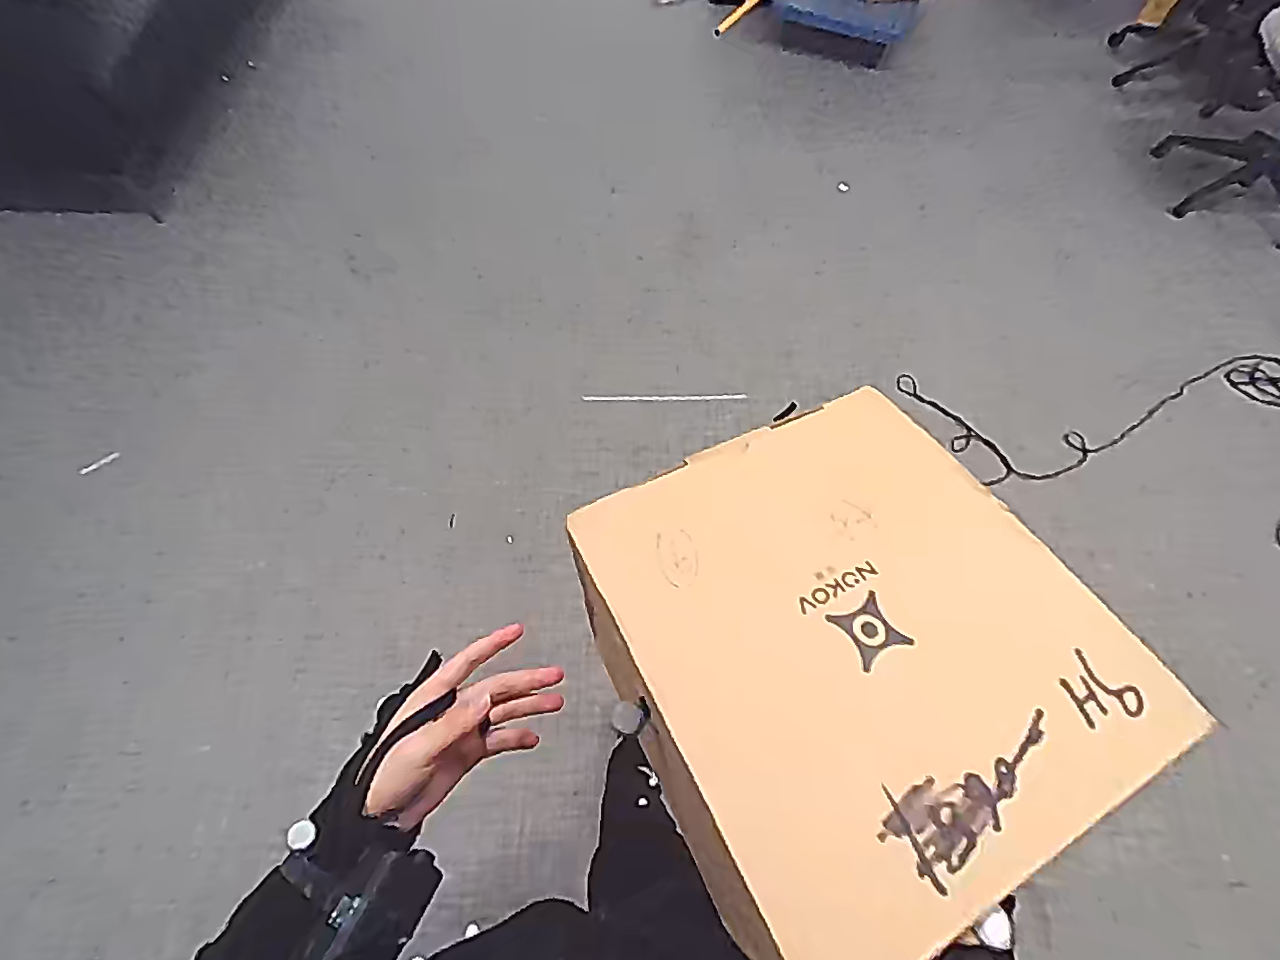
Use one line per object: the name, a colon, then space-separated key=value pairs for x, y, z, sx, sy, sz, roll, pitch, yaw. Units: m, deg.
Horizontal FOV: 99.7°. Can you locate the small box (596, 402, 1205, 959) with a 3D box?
small box: x=0.089 y=0.097 z=0.278 sx=0.168 sy=0.176 sz=0.179 roll=-24 pitch=59 yaw=-15
